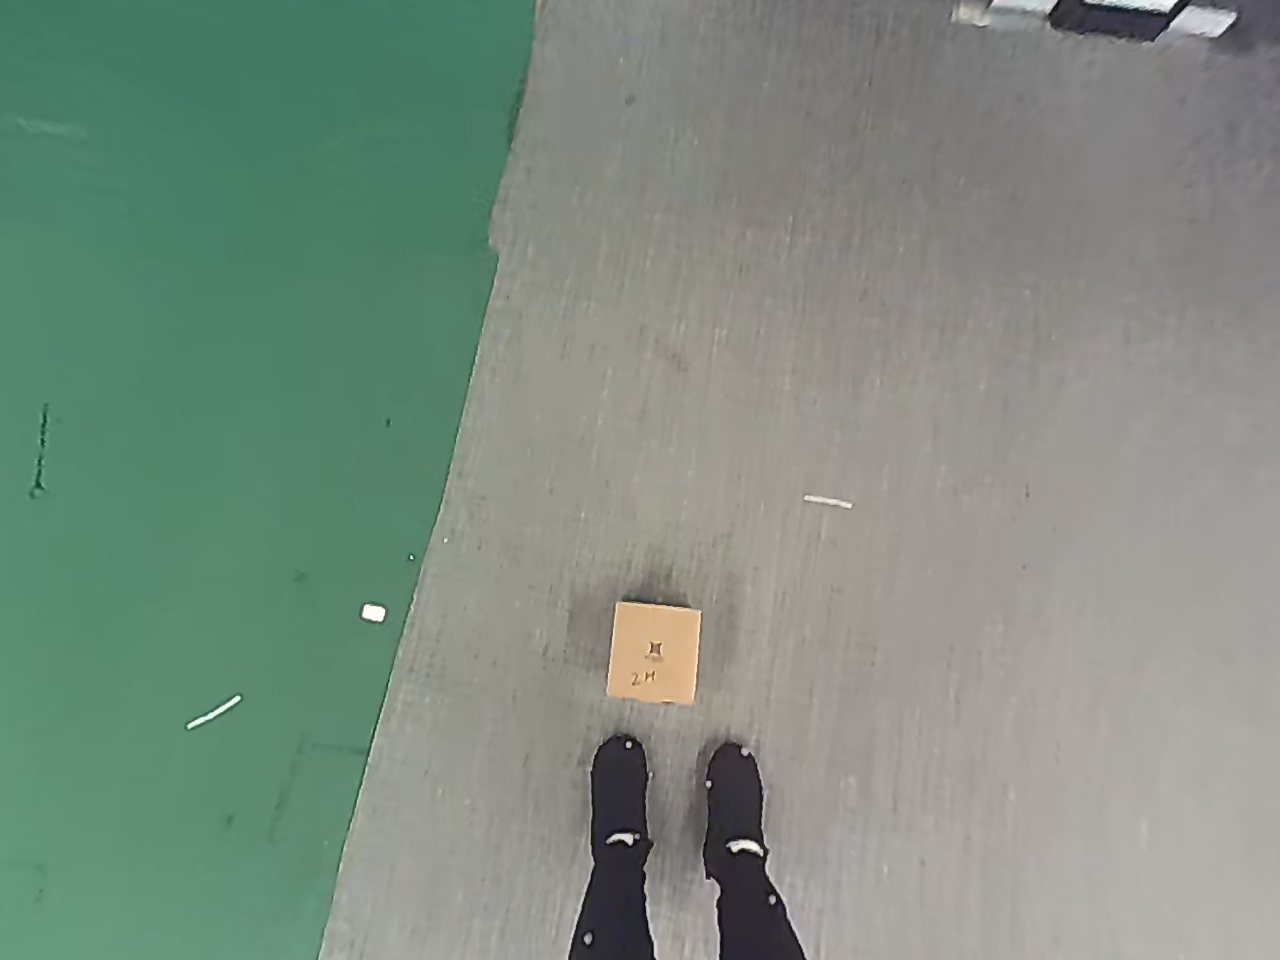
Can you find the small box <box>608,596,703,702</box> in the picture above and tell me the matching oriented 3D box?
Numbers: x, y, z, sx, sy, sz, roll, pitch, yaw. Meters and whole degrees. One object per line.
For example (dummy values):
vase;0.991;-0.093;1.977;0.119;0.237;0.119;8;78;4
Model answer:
small box;0.028;0.330;1.084;0.168;0.176;0.179;6;78;1
